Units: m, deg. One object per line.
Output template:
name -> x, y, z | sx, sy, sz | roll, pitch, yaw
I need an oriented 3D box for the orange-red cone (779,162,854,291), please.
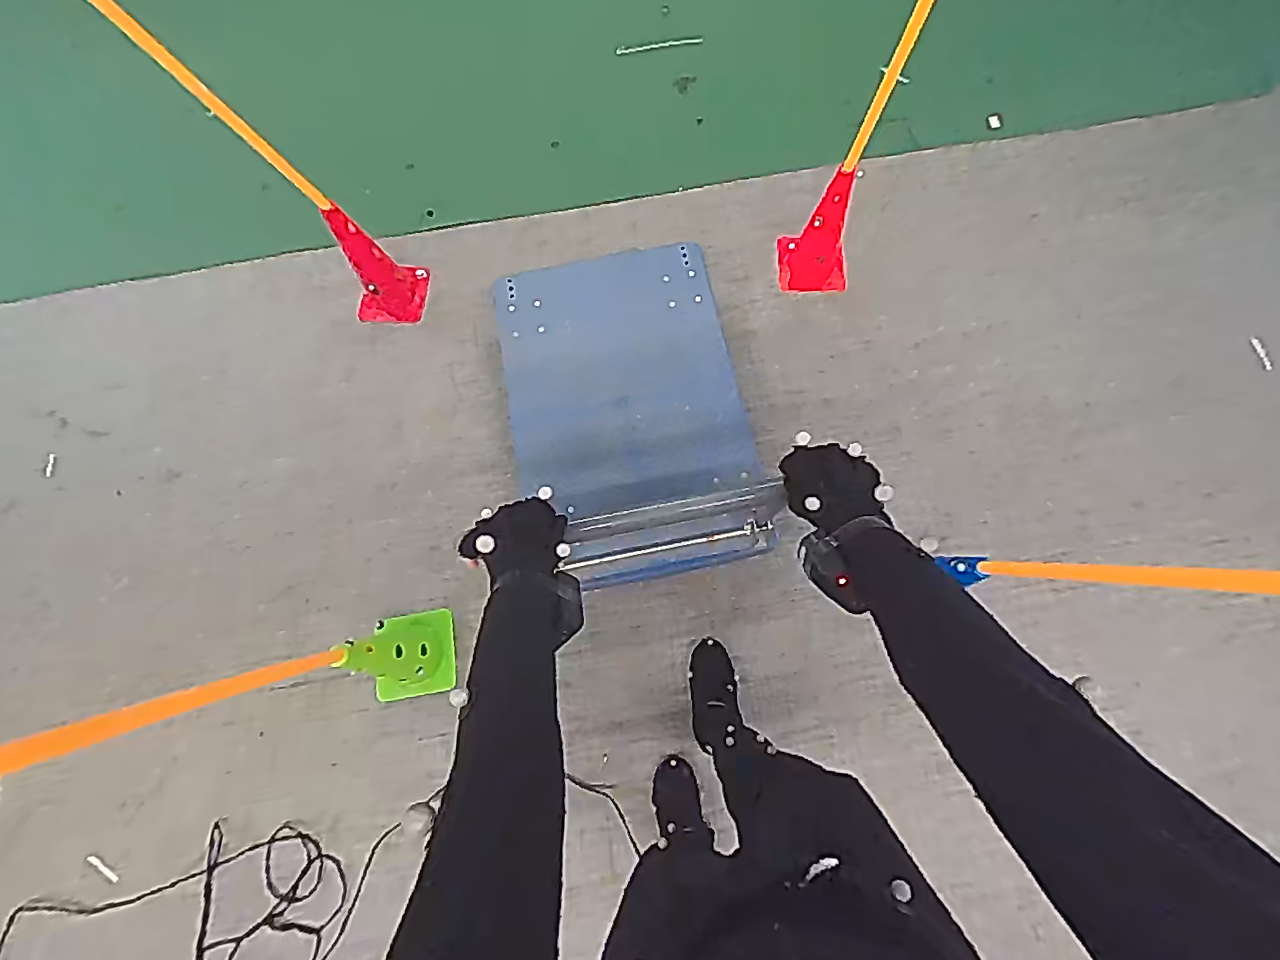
orange-red cone -> 0.515, -0.708, 1.482 | 0.198, 0.360, 0.199 | 1, 74, 4
